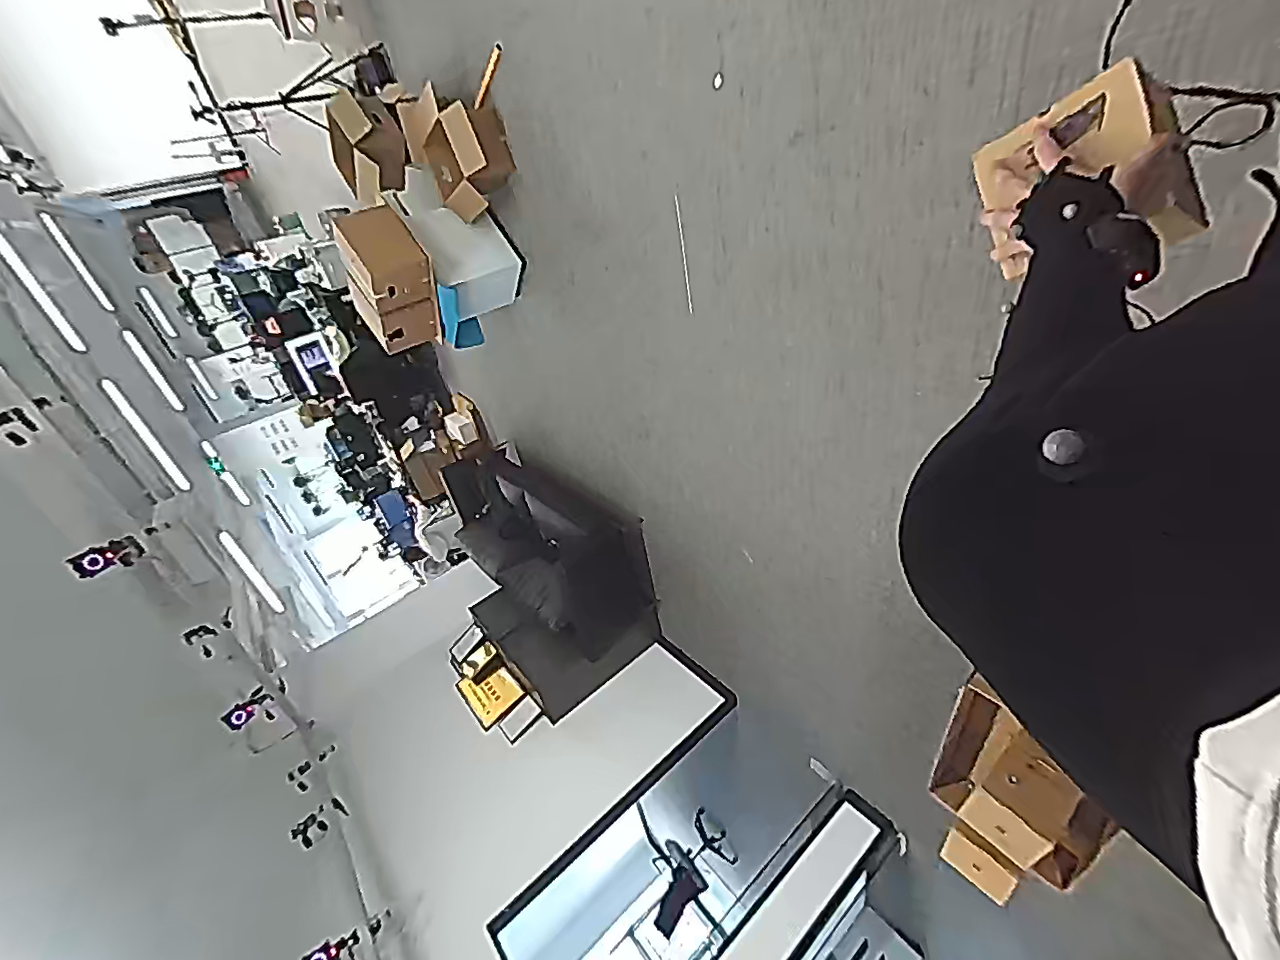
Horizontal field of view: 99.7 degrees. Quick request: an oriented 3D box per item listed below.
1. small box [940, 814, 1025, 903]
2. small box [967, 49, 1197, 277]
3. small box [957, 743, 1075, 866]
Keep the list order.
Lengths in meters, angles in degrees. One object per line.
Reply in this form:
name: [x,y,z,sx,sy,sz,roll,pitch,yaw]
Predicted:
small box: [0.958,0.989,1.477,0.168,0.176,0.179,30,138,43]
small box: [0.555,-0.378,0.684,0.168,0.176,0.179,-18,84,55]
small box: [0.926,0.792,1.331,0.168,0.176,0.179,35,145,38]
